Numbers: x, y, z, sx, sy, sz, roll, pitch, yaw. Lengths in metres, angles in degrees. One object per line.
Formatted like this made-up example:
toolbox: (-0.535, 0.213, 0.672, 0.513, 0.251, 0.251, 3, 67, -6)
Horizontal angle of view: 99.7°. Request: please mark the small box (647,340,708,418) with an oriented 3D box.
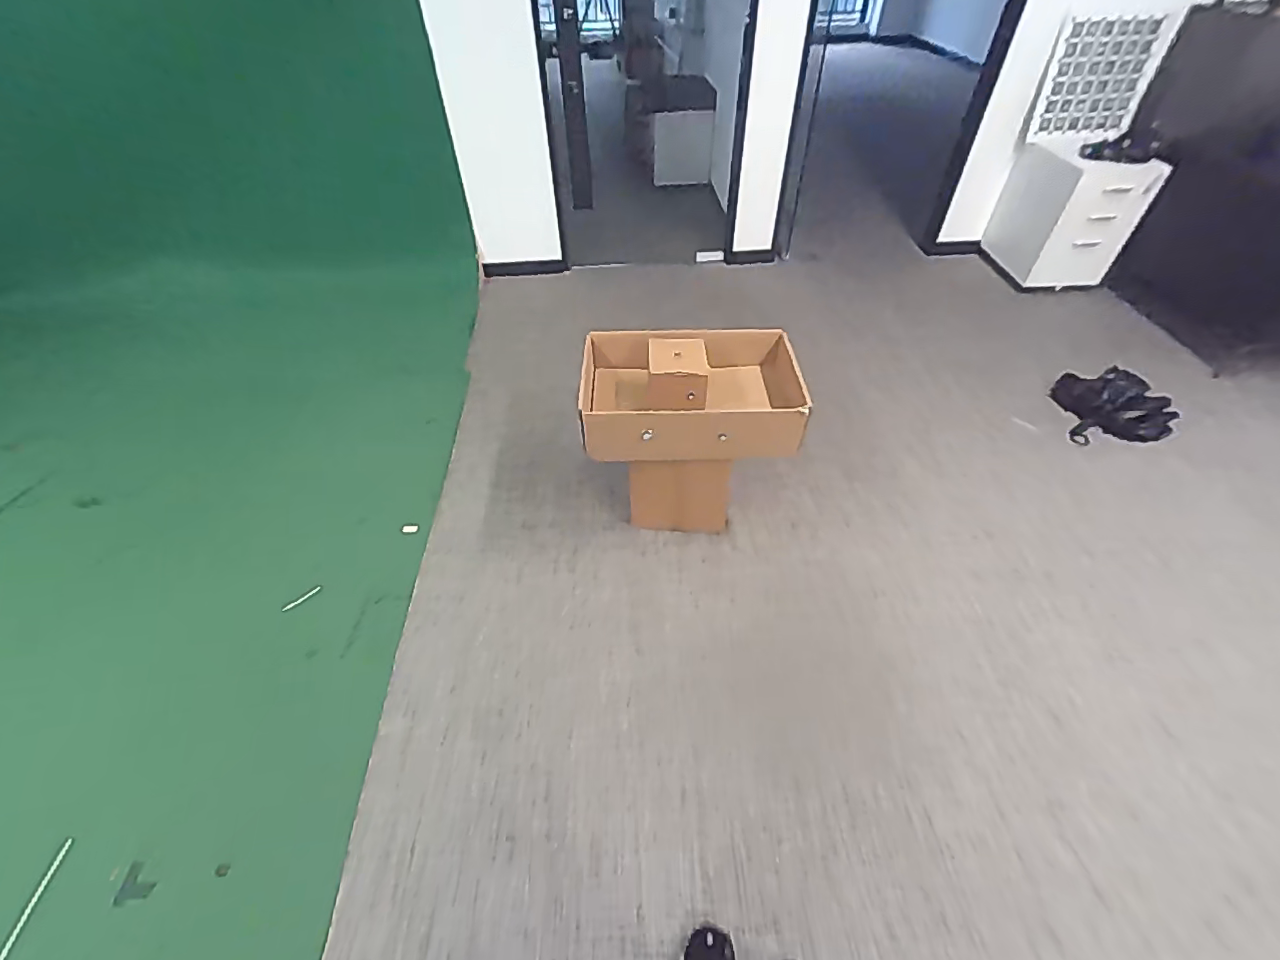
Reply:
small box: (0.106, -0.295, 1.596, 0.168, 0.176, 0.179, 0, 45, -2)
